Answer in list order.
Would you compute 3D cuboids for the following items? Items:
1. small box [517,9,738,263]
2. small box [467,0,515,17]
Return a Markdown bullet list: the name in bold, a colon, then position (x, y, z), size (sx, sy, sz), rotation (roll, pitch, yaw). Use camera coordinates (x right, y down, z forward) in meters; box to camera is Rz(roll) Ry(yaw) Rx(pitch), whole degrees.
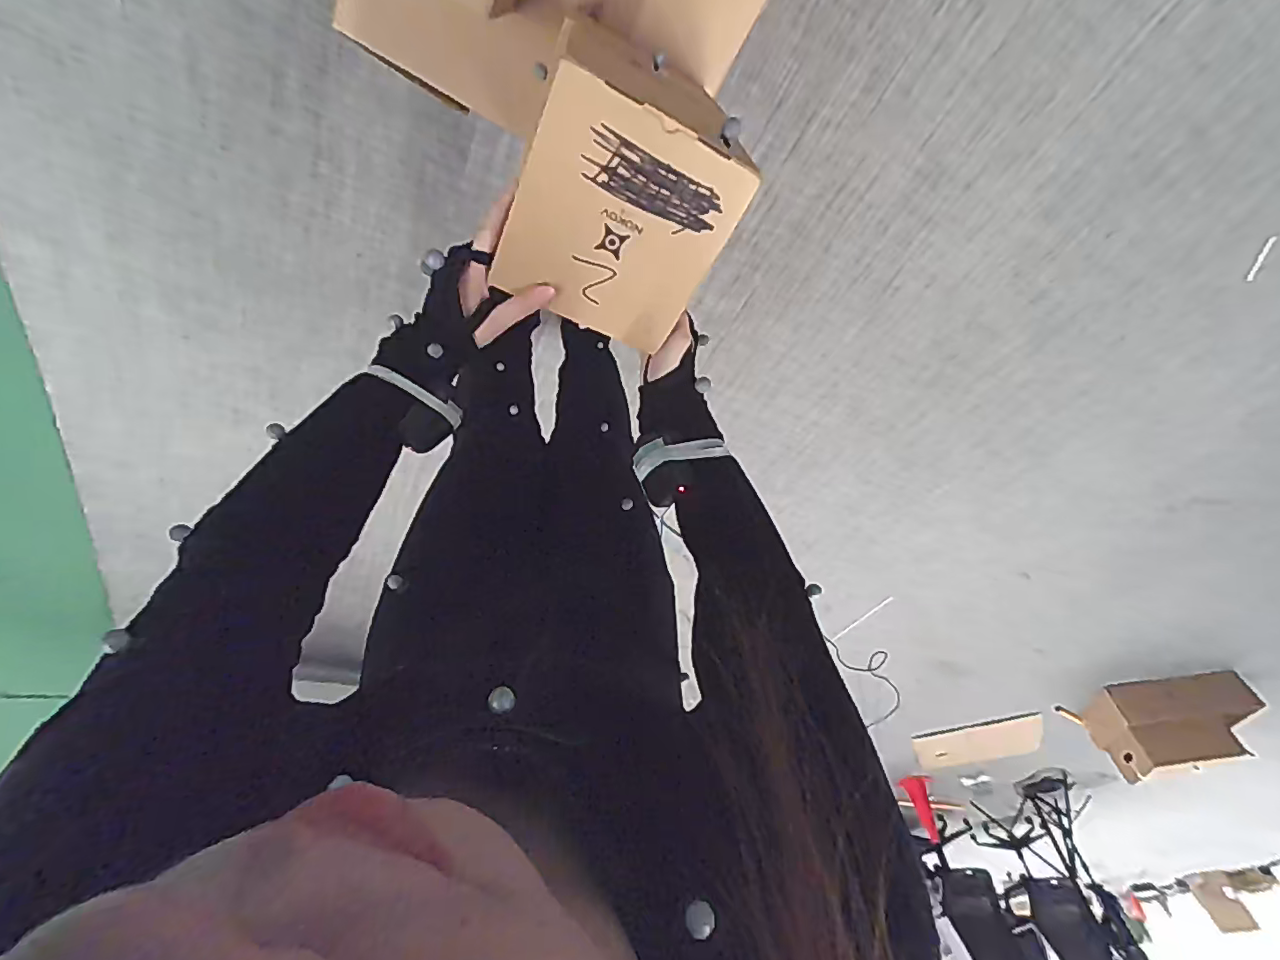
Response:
- **small box**: position (-0.021, -0.380, 0.598), size (0.179, 0.176, 0.168), rotation (18, 130, -21)
- **small box**: position (-0.160, -0.530, 0.440), size (0.168, 0.176, 0.179), rotation (19, 128, -21)
